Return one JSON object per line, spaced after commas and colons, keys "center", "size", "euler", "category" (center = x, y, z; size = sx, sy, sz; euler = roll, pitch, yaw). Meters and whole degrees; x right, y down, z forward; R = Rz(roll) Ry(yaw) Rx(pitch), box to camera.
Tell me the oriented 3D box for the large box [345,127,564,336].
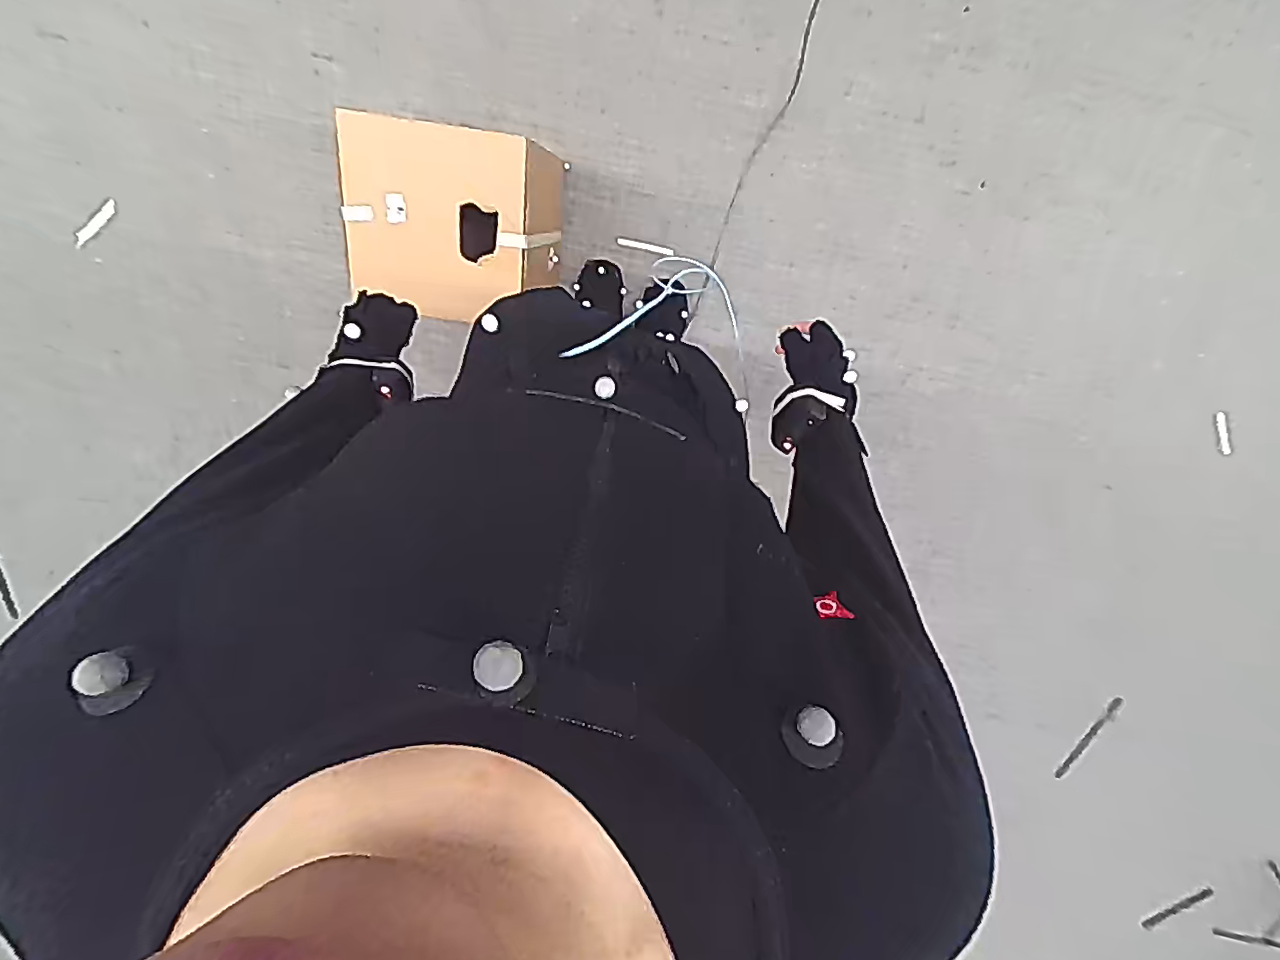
{"center": [-0.348, -0.511, 1.120], "size": [0.320, 0.408, 0.320], "euler": [8, 116, -3], "category": "large box"}
